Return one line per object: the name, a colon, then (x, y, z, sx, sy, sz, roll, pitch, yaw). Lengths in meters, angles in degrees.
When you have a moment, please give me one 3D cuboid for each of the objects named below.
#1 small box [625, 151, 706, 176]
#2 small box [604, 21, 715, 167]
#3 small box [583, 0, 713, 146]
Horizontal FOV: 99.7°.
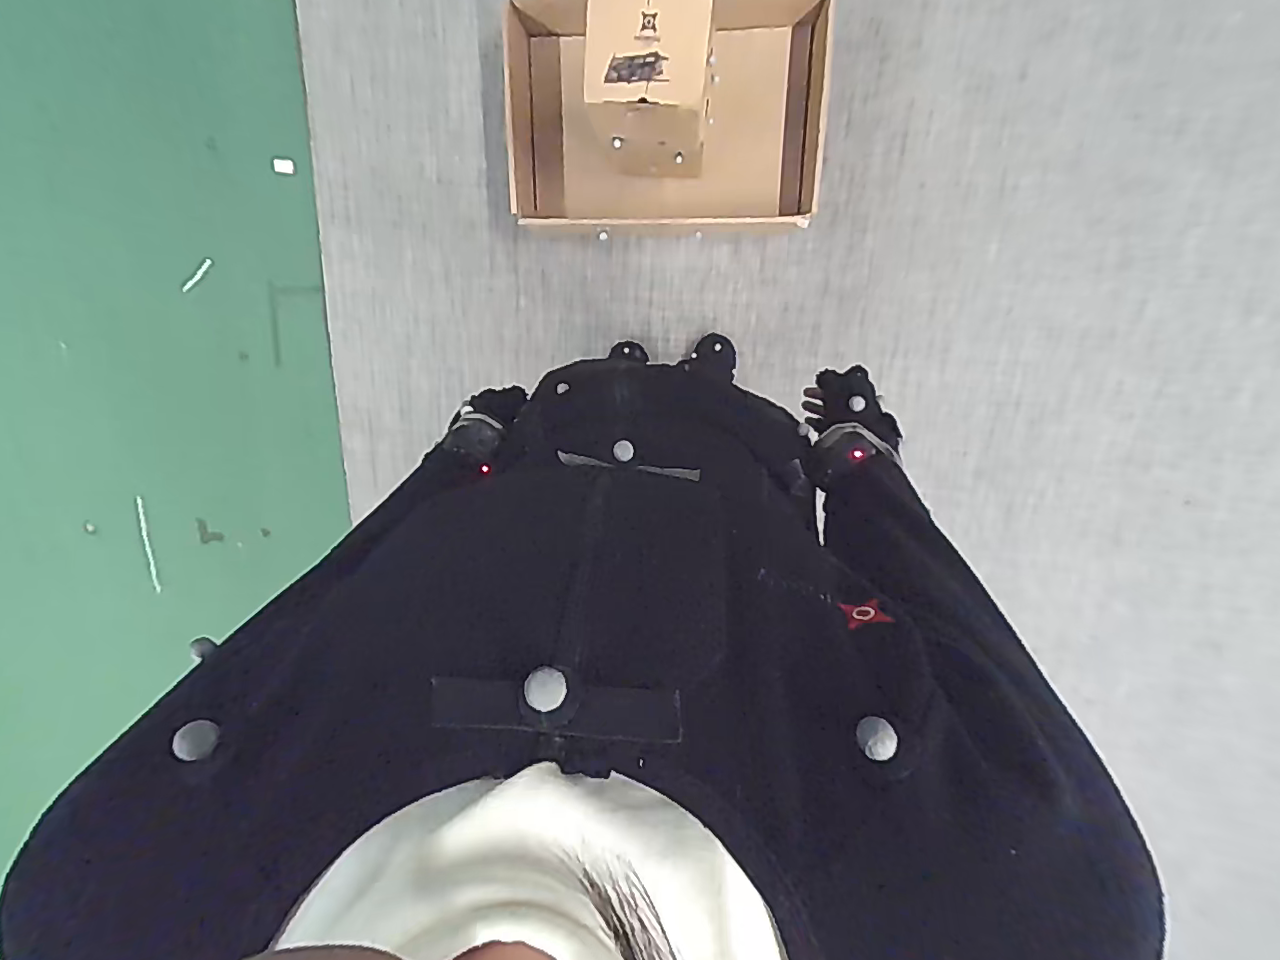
small box: (0.048, -0.735, 1.104, 0.179, 0.176, 0.168, 1, 105, 5)
small box: (0.034, -0.659, 0.938, 0.179, 0.176, 0.168, 1, 106, 4)
small box: (0.017, -0.618, 0.797, 0.168, 0.176, 0.179, 6, 104, 3)
